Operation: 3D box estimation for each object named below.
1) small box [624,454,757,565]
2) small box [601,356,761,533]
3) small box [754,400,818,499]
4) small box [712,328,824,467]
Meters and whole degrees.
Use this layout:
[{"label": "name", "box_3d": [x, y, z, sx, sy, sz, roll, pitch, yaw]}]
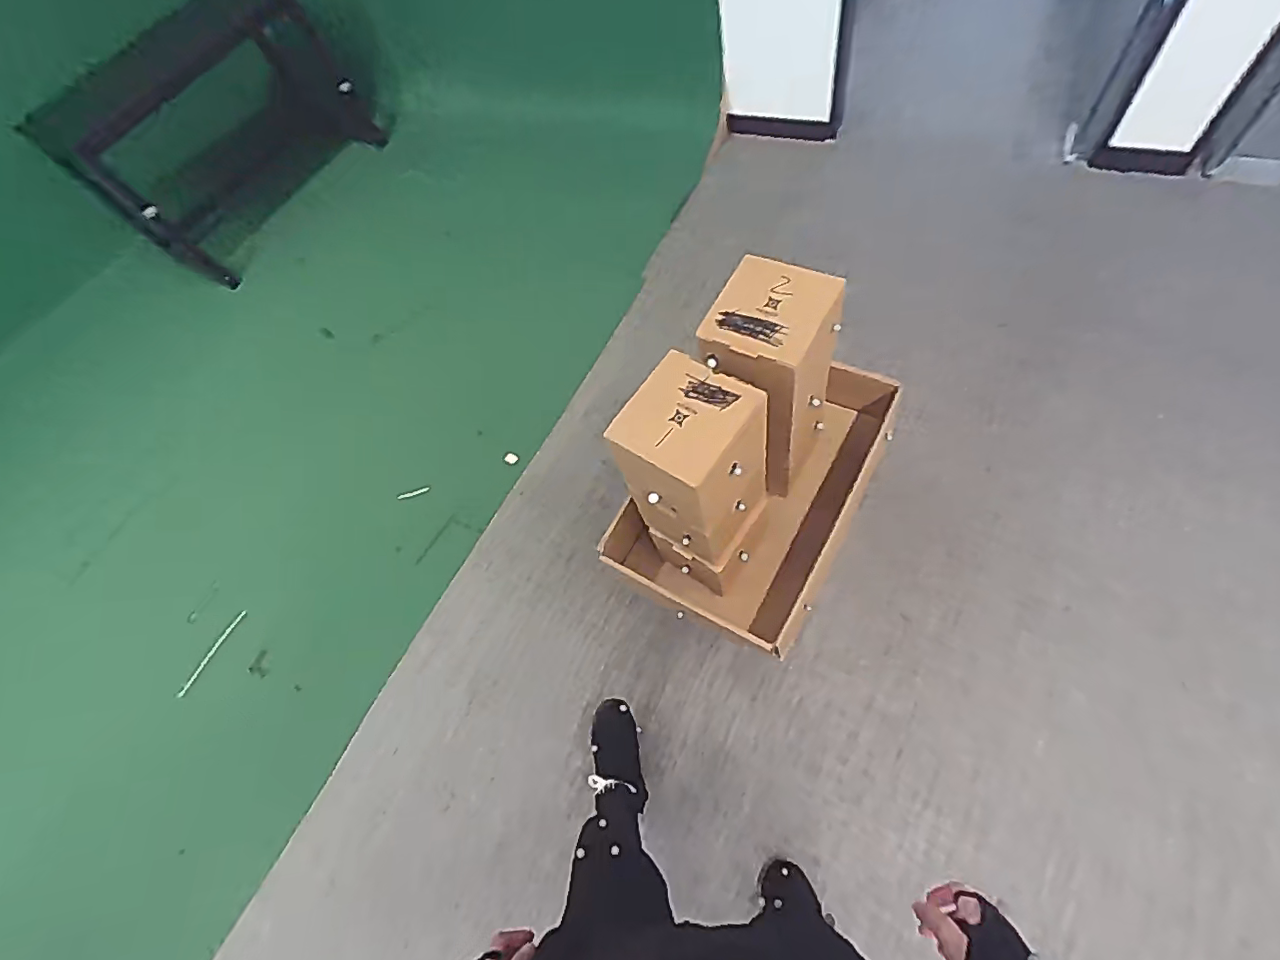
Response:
[{"label": "small box", "box_3d": [0.099, 0.026, 0.976, 0.168, 0.176, 0.179, 31, 72, 24]}, {"label": "small box", "box_3d": [0.068, -0.050, 0.834, 0.168, 0.176, 0.179, 31, 73, 24]}, {"label": "small box", "box_3d": [0.270, -0.087, 1.183, 0.168, 0.176, 0.179, 24, 73, 23]}, {"label": "small box", "box_3d": [0.234, -0.154, 1.041, 0.168, 0.176, 0.179, 24, 74, 21]}]
